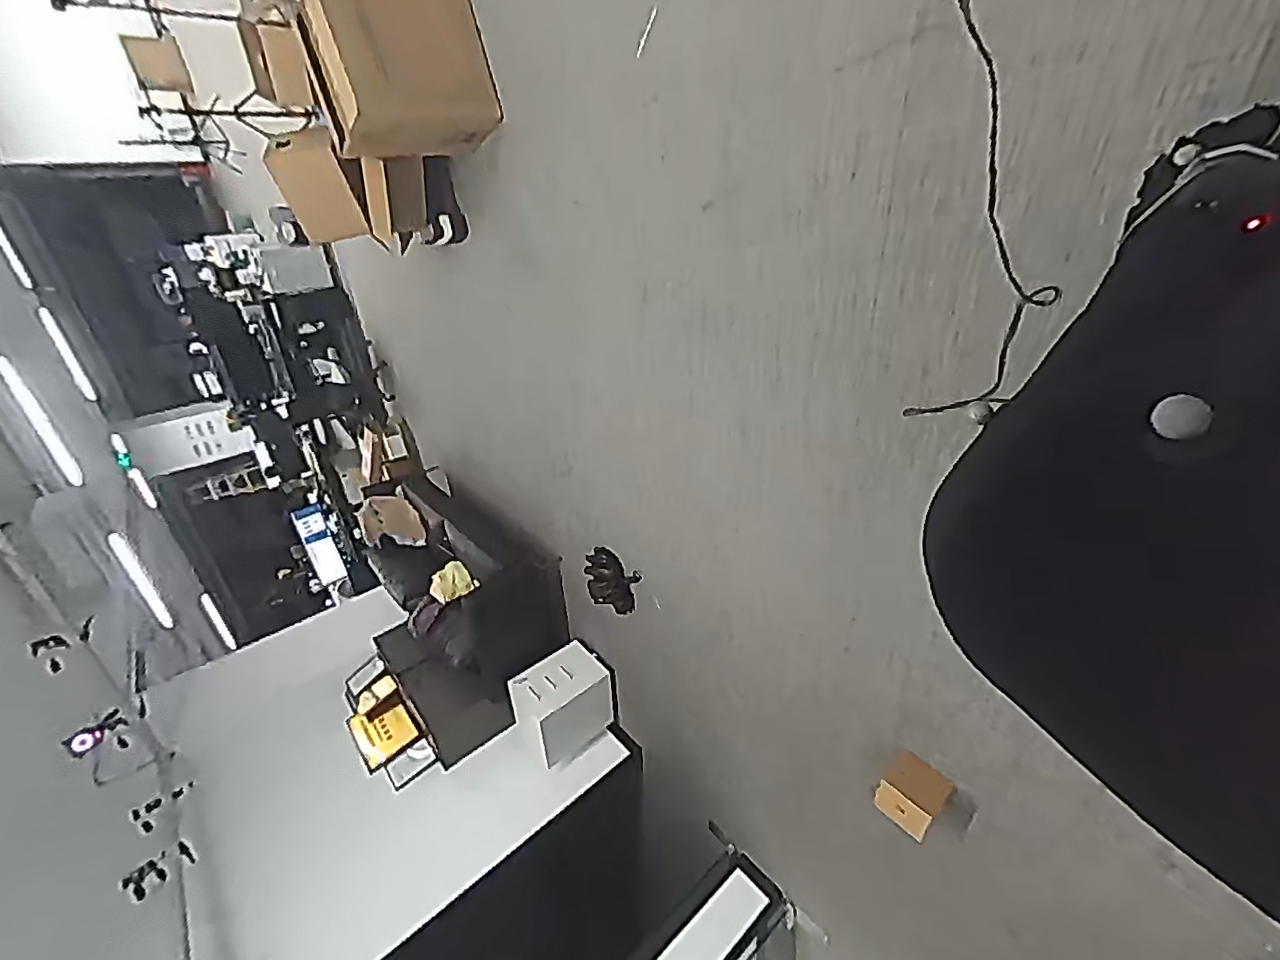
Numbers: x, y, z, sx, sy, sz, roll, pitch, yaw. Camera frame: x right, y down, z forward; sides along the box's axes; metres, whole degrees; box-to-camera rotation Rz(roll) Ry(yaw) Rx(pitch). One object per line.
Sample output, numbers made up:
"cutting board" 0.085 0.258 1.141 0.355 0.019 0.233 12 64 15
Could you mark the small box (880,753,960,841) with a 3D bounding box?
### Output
"small box" 0.967 1.081 1.869 0.179 0.176 0.168 29 133 40
